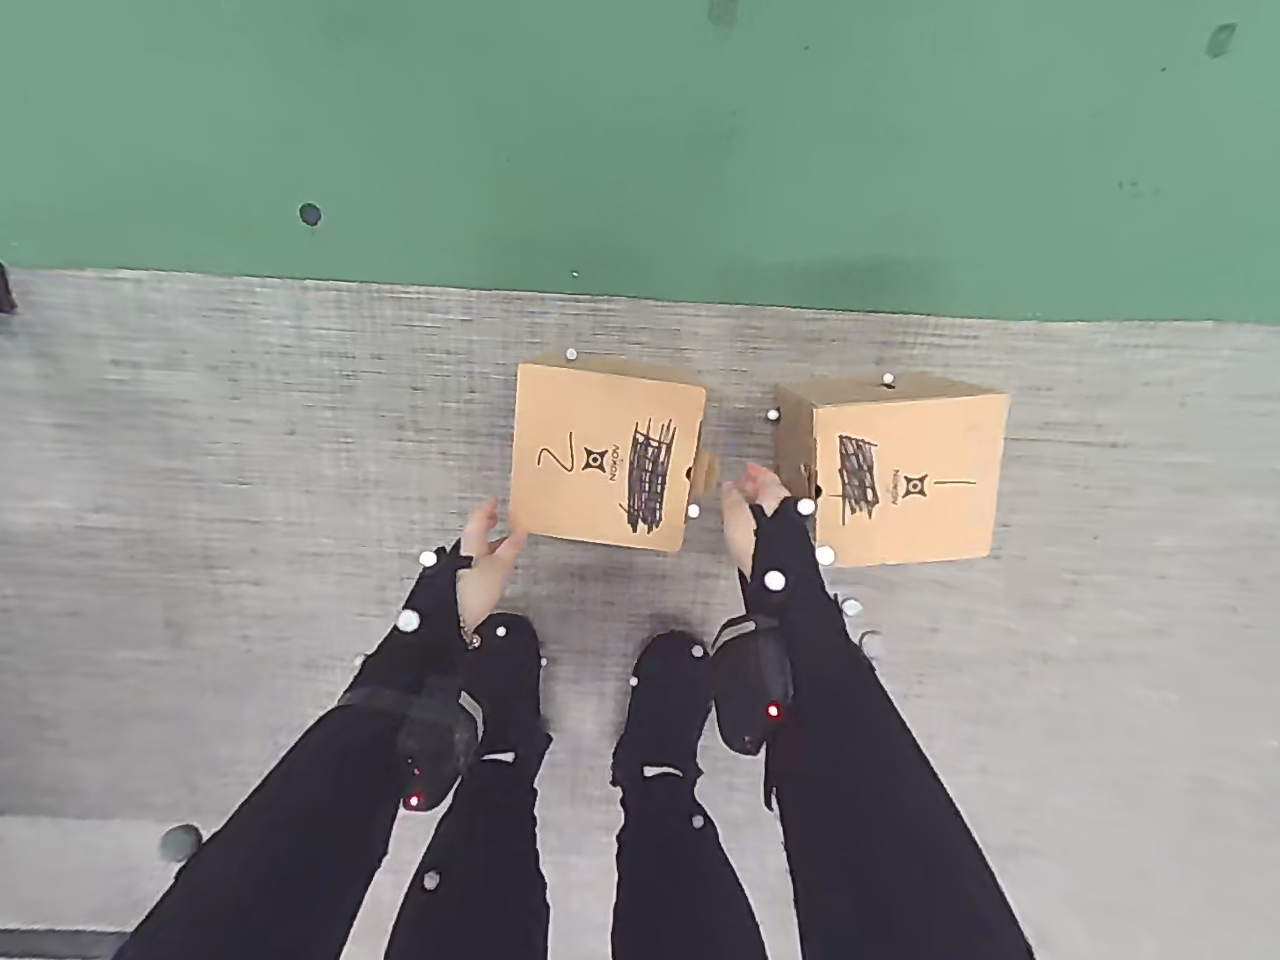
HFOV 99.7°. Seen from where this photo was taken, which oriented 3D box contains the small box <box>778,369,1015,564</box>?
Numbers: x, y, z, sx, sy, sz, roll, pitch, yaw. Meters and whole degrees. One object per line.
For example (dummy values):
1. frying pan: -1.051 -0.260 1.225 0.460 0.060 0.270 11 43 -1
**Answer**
1. small box: 0.250 -0.023 0.577 0.179 0.176 0.168 -4 108 1
